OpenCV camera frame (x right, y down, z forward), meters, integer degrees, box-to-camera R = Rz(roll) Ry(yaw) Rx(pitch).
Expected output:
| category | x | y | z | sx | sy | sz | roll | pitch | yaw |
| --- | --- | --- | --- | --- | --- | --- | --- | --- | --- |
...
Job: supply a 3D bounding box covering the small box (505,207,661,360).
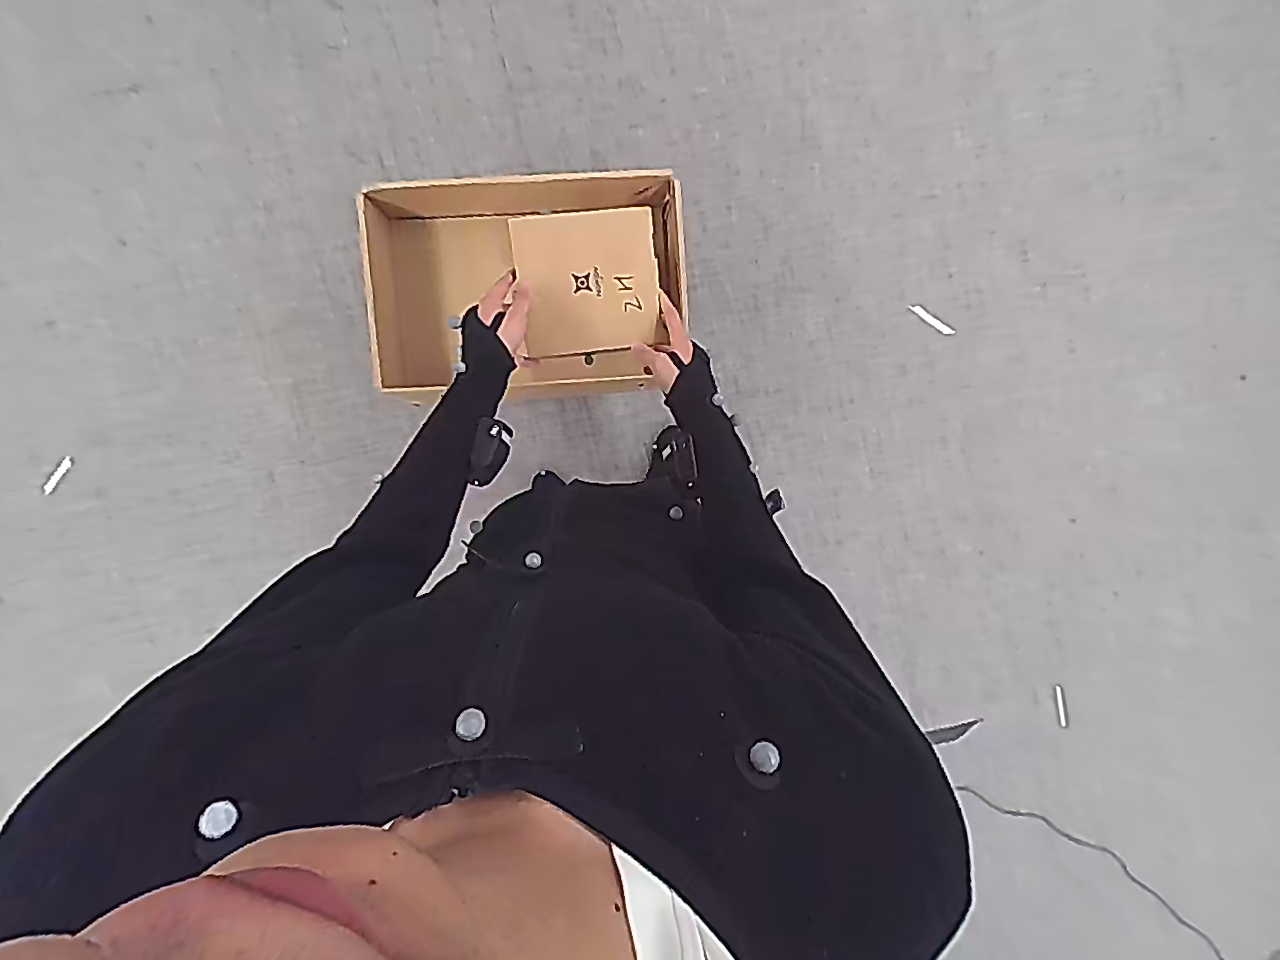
| category | x | y | z | sx | sy | sz | roll | pitch | yaw |
| --- | --- | --- | --- | --- | --- | --- | --- | --- | --- |
| small box | -0.075 | -0.255 | 0.735 | 0.179 | 0.176 | 0.168 | -8 | 103 | -6 |
